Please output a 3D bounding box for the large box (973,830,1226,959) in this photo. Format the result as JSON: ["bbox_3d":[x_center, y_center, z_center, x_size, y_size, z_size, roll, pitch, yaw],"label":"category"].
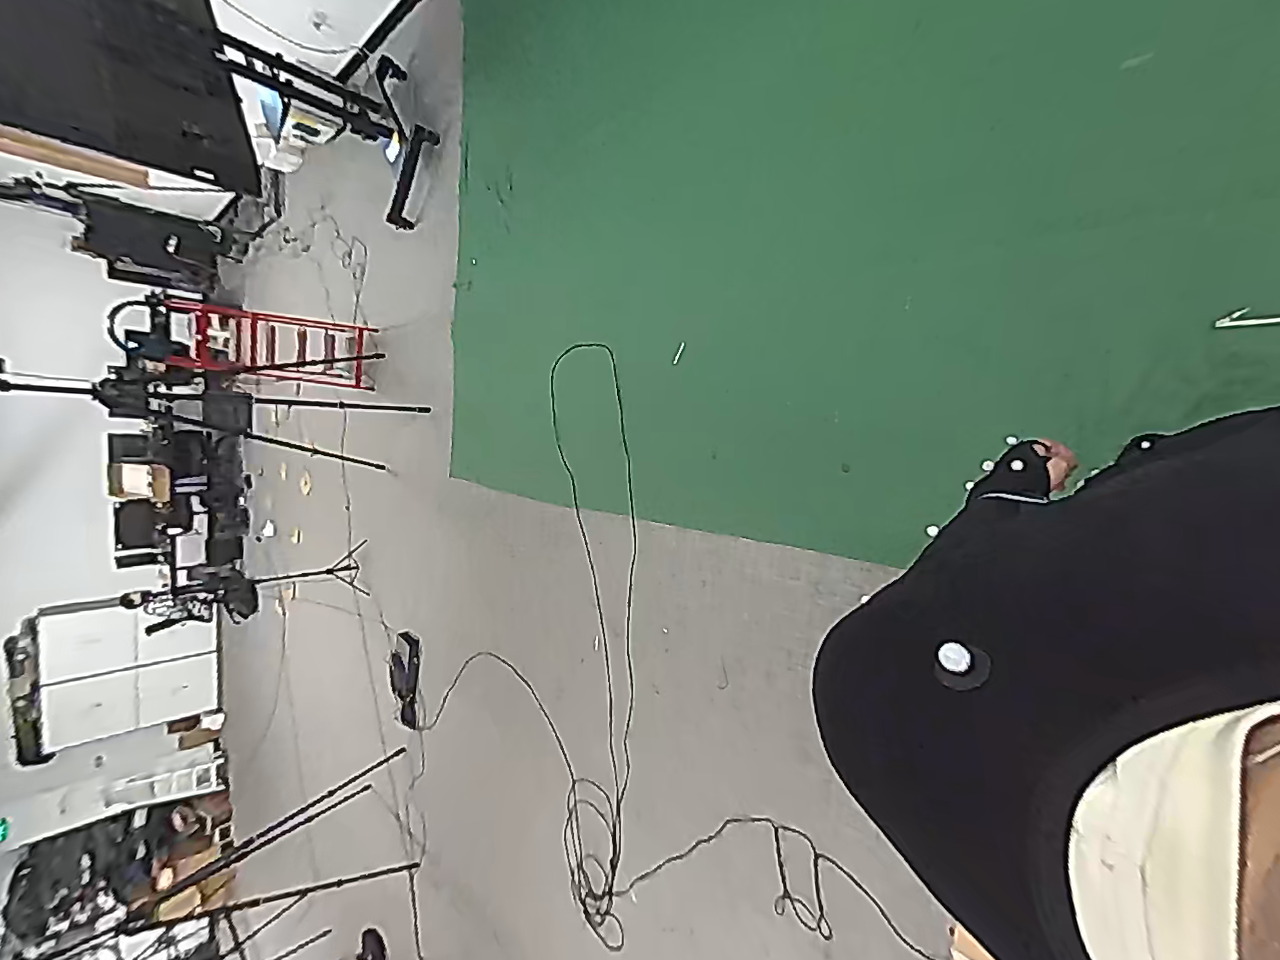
[{"bbox_3d":[0.999,1.083,1.201,0.408,0.320,0.320,5,94,42],"label":"large box"}]
